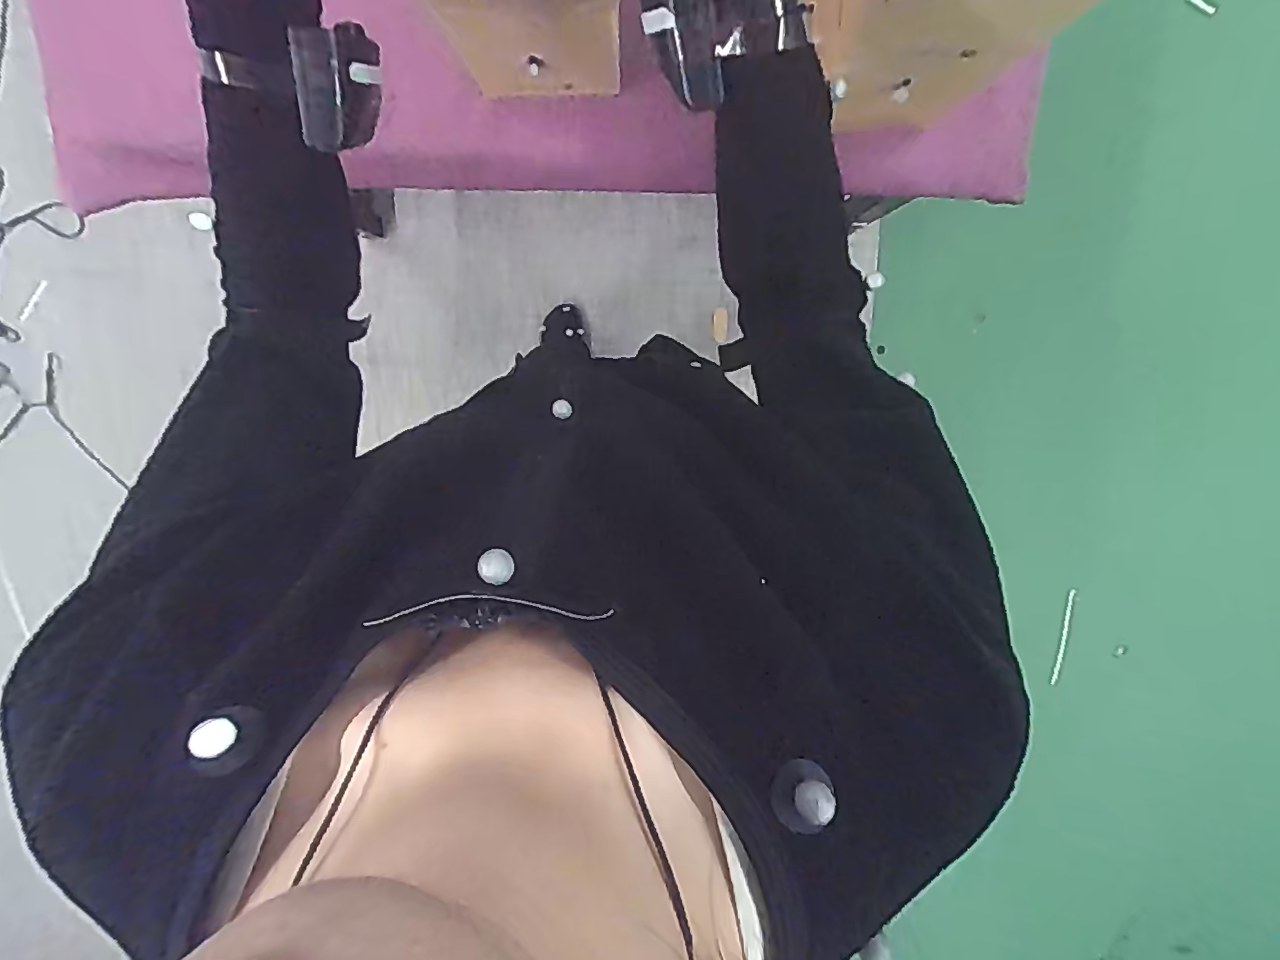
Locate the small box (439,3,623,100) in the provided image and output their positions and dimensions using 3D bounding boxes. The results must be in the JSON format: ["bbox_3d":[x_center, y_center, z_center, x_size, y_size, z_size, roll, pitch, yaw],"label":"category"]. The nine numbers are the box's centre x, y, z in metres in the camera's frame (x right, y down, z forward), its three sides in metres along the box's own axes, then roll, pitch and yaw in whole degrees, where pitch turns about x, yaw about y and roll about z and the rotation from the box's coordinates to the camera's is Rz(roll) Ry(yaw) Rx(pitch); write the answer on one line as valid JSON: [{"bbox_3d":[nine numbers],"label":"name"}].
[{"bbox_3d":[-0.106,-0.529,0.568,0.168,0.176,0.179,0,103,2],"label":"small box"}]
